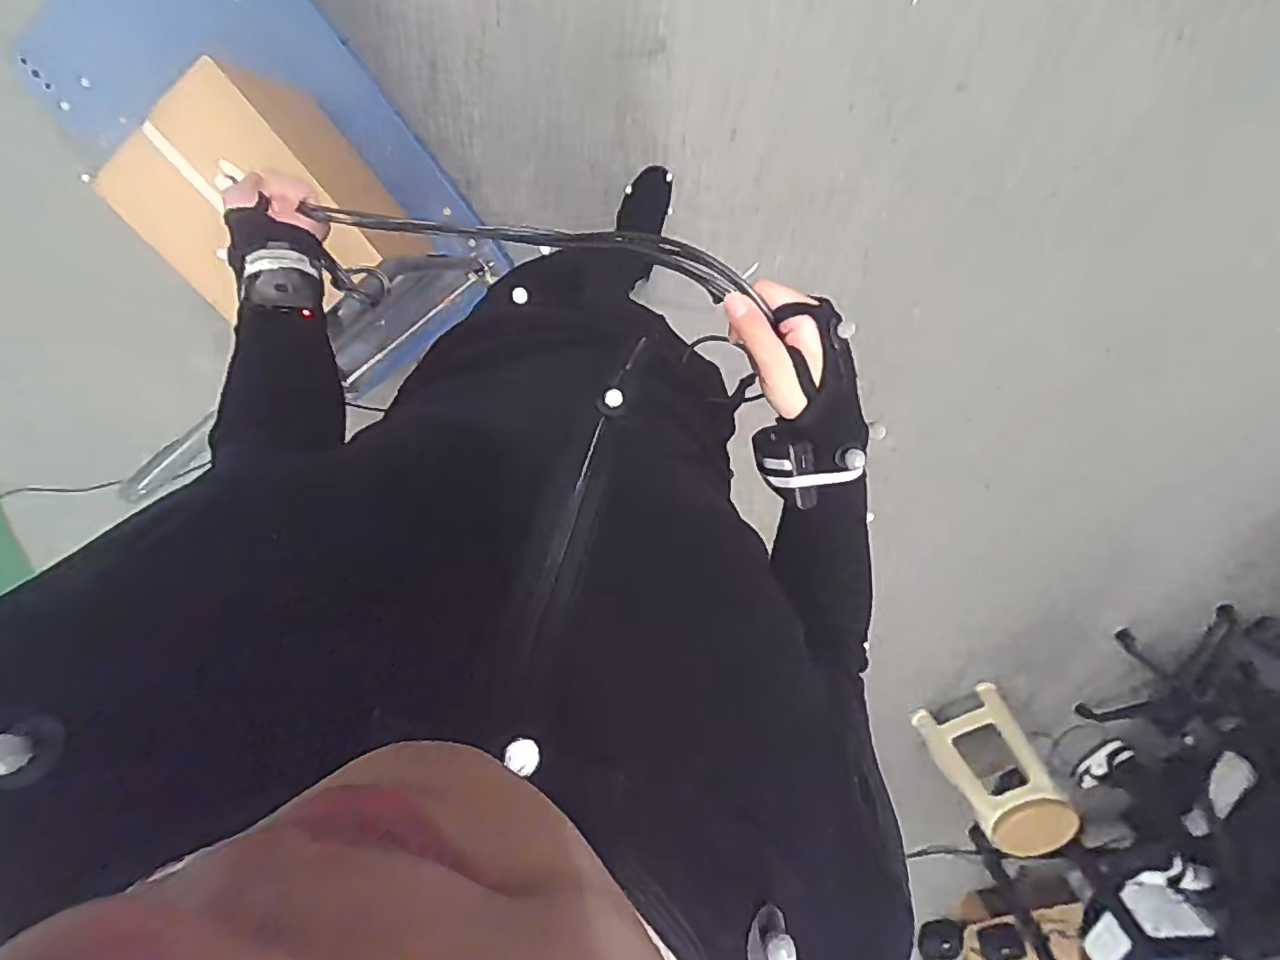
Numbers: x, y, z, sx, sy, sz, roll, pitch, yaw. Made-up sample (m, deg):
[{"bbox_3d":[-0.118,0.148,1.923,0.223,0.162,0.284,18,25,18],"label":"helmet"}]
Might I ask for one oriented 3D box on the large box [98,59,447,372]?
[{"bbox_3d":[-0.672,-0.492,1.072,0.320,0.320,0.408,-33,111,13],"label":"large box"}]
